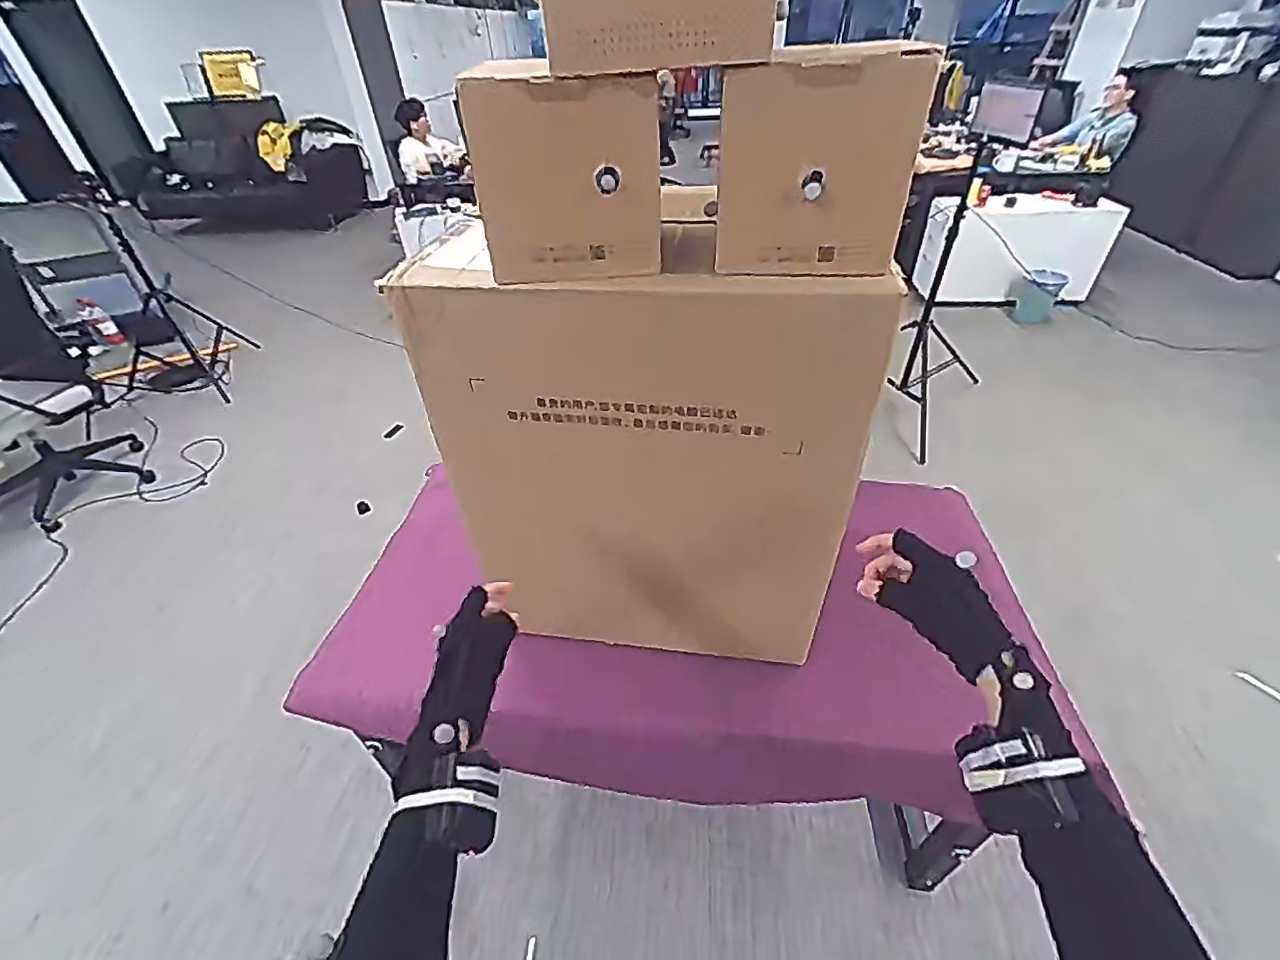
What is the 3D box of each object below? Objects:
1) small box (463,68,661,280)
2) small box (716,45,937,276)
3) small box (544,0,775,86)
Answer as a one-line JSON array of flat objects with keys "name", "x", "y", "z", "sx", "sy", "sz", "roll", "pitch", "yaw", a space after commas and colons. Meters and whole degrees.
[{"name": "small box", "x": -0.067, "y": -0.314, "z": 0.555, "sx": 0.168, "sy": 0.176, "sz": 0.179, "roll": -3, "pitch": 39, "yaw": -3}, {"name": "small box", "x": 0.165, "y": -0.314, "z": 0.536, "sx": 0.168, "sy": 0.176, "sz": 0.179, "roll": 4, "pitch": 41, "yaw": 8}, {"name": "small box", "x": 0.015, "y": -0.431, "z": 0.432, "sx": 0.179, "sy": 0.176, "sz": 0.168, "roll": -3, "pitch": 41, "yaw": 3}]
